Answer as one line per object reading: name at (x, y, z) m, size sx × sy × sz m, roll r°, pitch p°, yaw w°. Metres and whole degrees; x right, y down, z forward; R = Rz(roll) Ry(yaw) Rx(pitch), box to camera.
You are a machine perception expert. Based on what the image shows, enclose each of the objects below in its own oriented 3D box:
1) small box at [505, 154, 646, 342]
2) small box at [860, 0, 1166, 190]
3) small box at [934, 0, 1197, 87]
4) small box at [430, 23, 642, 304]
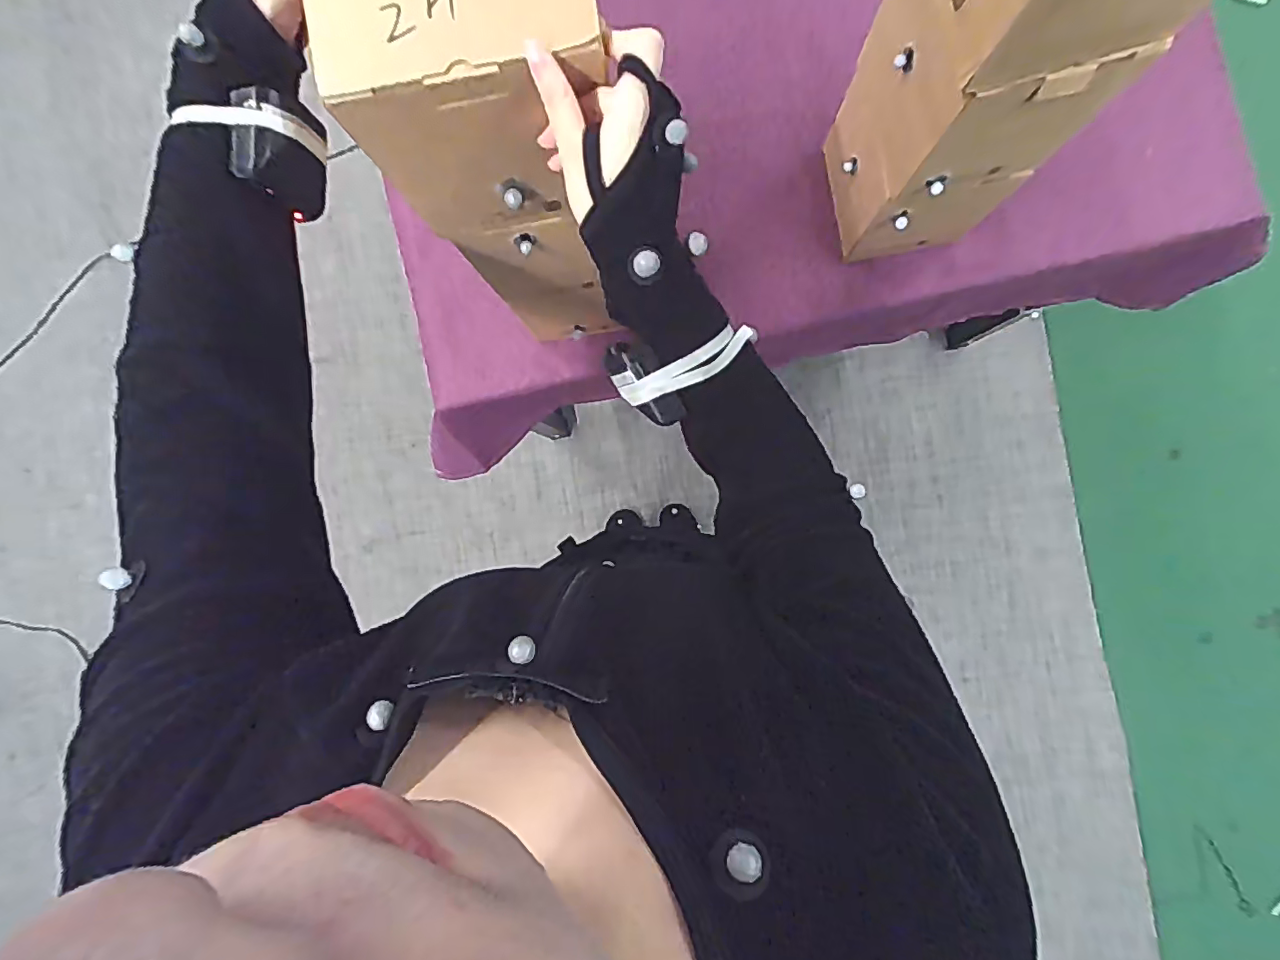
small box at (-0.084, -0.300, 0.720) m, size 0.168 × 0.176 × 0.179 m, roll -7°, pitch 89°, yaw 3°
small box at (0.342, -0.418, 0.534) m, size 0.168 × 0.176 × 0.179 m, roll -13°, pitch 86°, yaw 3°
small box at (0.327, -0.424, 0.372) m, size 0.179 × 0.176 × 0.168 m, roll -14°, pitch 87°, yaw 3°
small box at (-0.093, -0.304, 0.556) m, size 0.168 × 0.176 × 0.179 m, roll -8°, pitch 88°, yaw 4°
